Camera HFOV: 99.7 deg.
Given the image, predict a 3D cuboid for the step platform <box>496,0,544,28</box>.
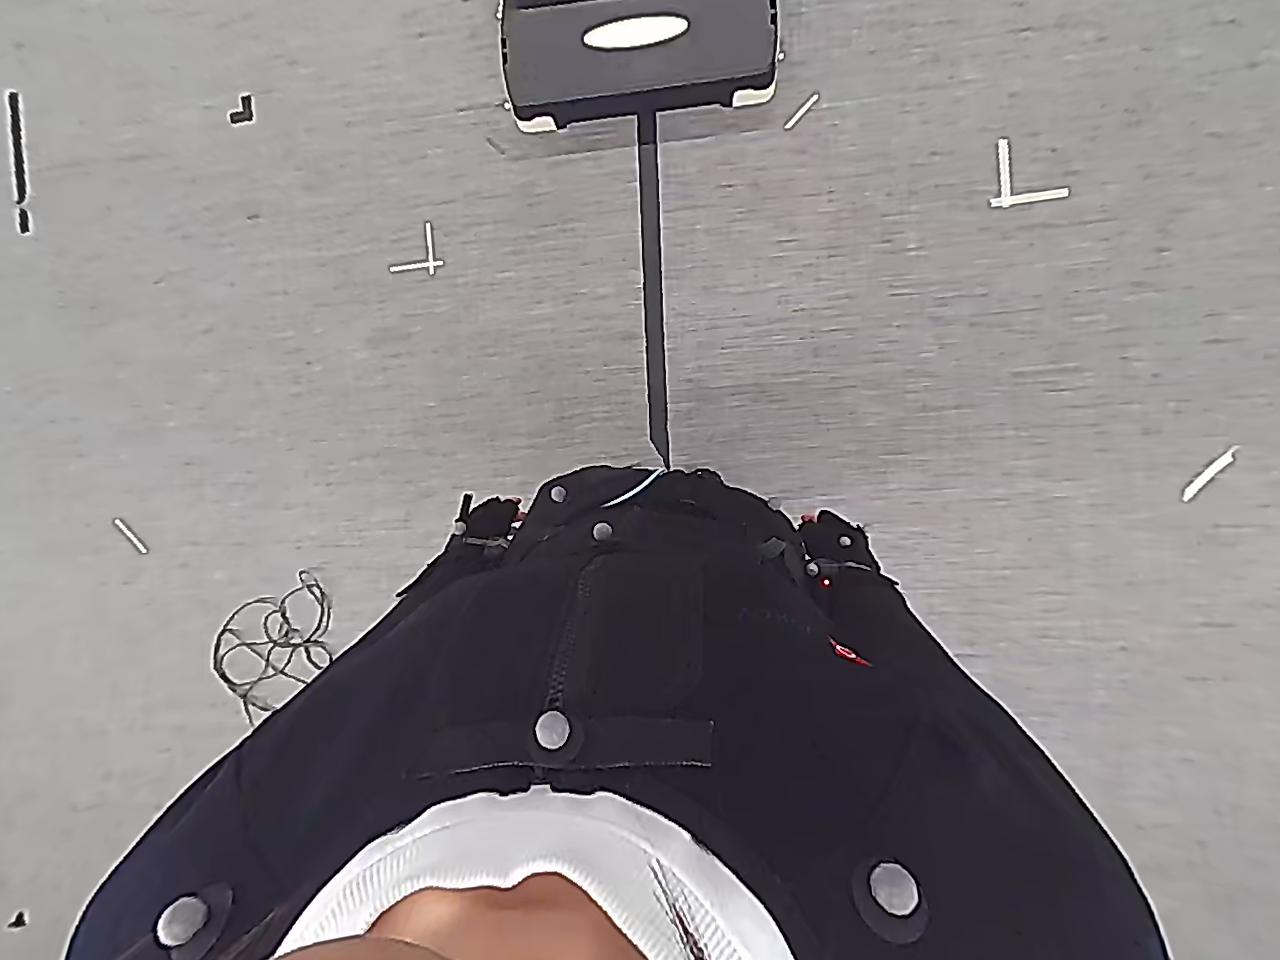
[{"bbox_3d":[-0.046,-1.322,1.266,0.684,0.204,0.286,-4,94,6],"label":"step platform"}]
